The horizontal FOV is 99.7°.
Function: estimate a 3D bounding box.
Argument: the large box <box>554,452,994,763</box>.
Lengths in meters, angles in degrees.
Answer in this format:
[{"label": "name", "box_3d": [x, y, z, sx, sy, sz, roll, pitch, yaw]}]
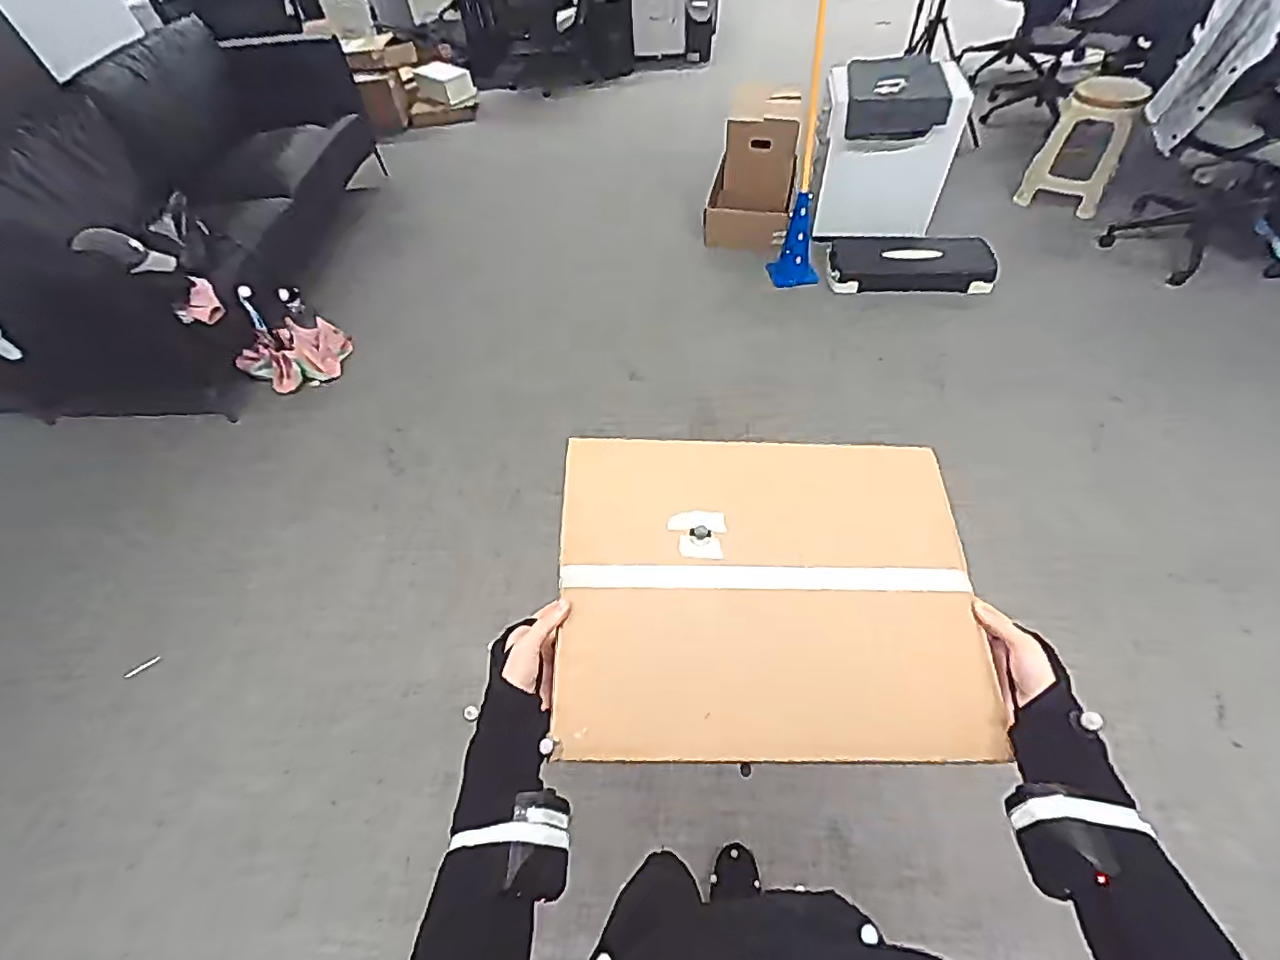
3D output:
[{"label": "large box", "box_3d": [0.117, 0.172, 0.676, 0.408, 0.320, 0.320, 1, 63, -2]}]
